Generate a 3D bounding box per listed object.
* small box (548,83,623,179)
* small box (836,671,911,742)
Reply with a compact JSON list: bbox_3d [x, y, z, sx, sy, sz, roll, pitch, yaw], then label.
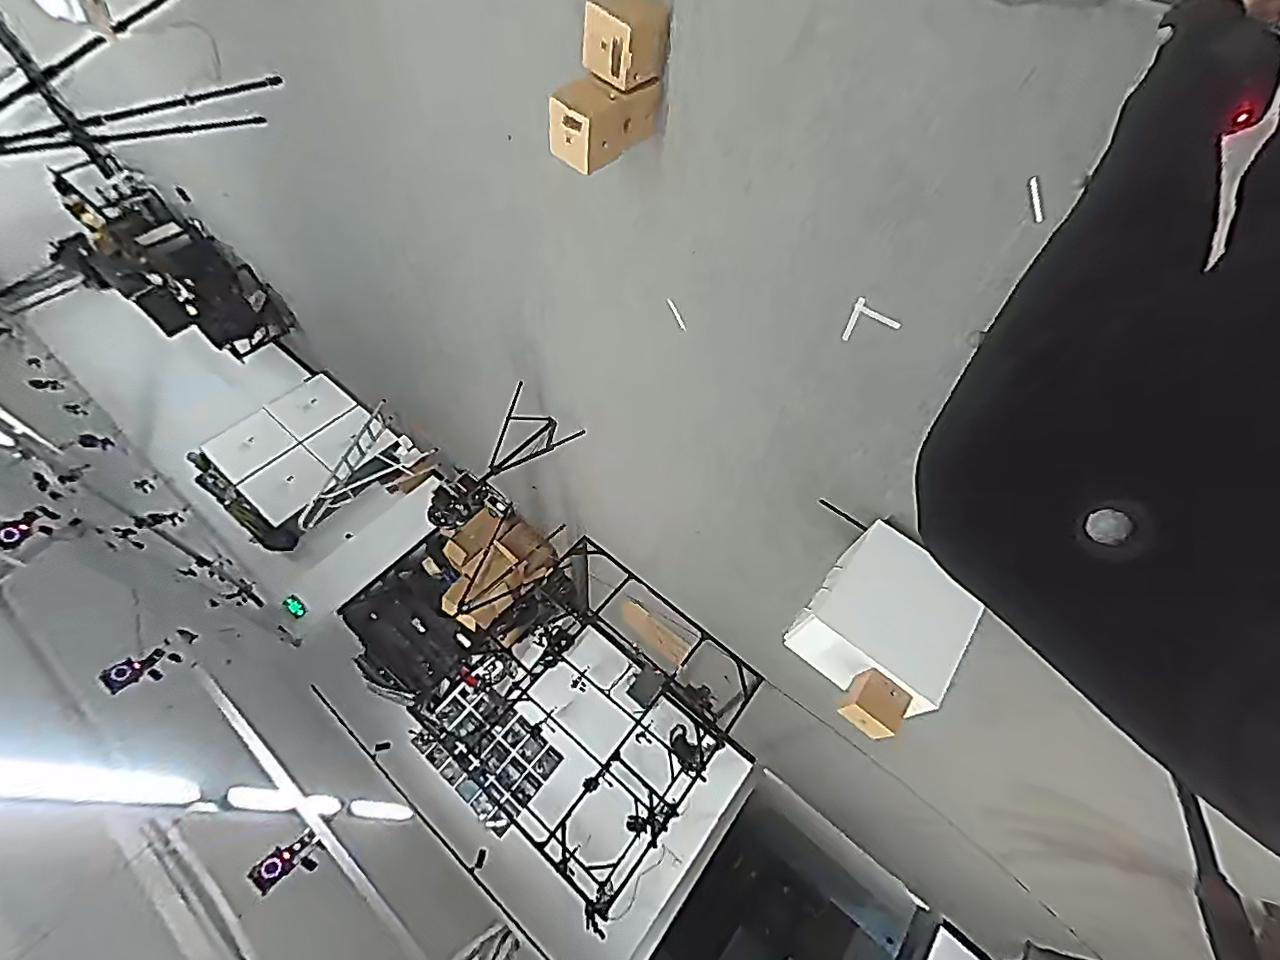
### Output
[{"bbox_3d":[-0.169,-1.093,1.688,0.168,0.176,0.179,39,154,13],"label":"small box"},{"bbox_3d":[0.869,0.840,2.005,0.168,0.176,0.179,37,153,15],"label":"small box"}]
